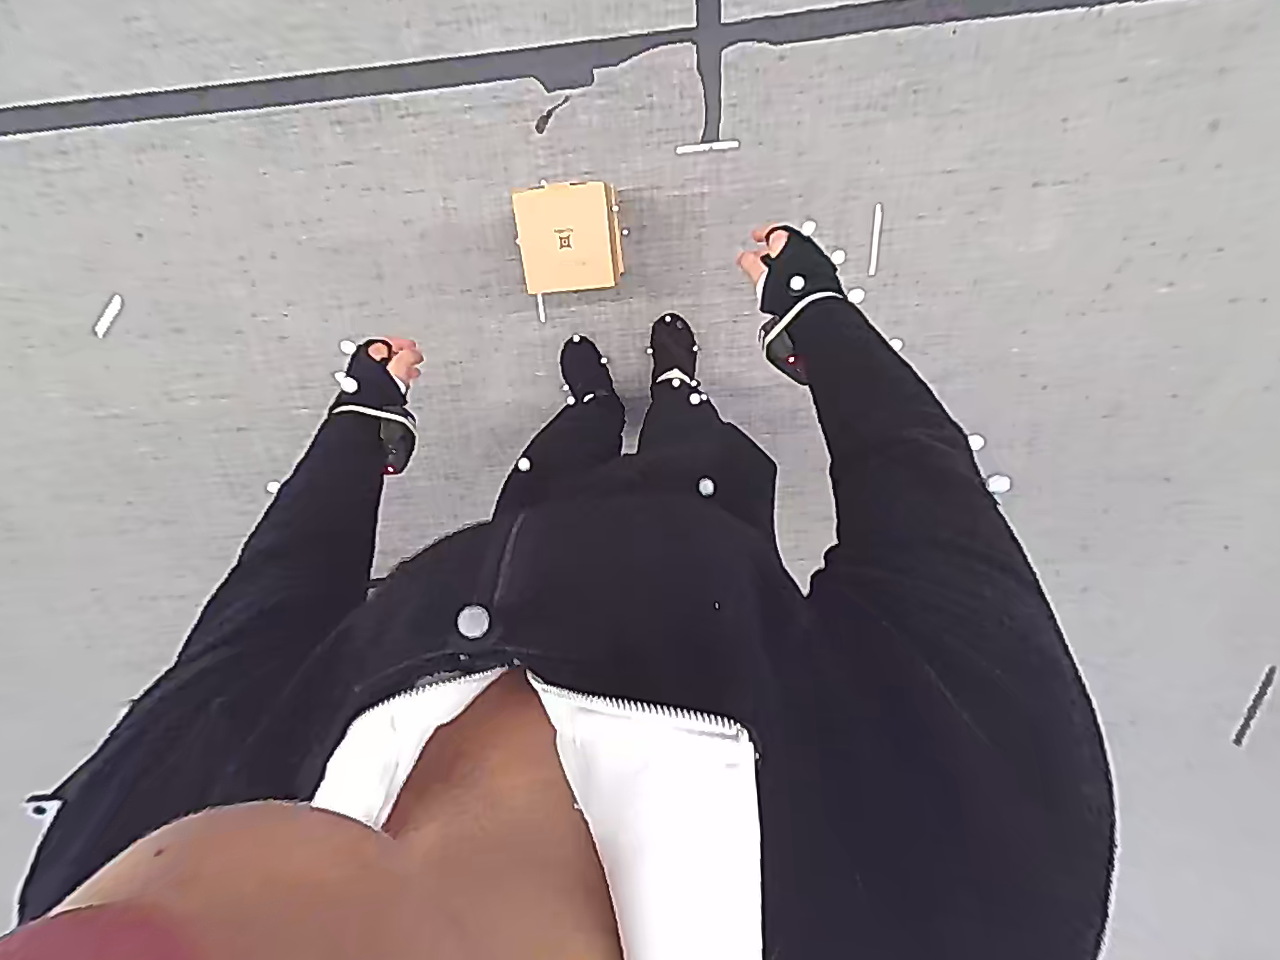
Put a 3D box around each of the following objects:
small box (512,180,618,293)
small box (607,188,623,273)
[{"bbox_3d":[-0.135,-0.468,1.045,0.168,0.176,0.179,-4,116,4],"label":"small box"},{"bbox_3d":[-0.131,-0.541,1.190,0.179,0.176,0.168,-5,114,3],"label":"small box"}]
